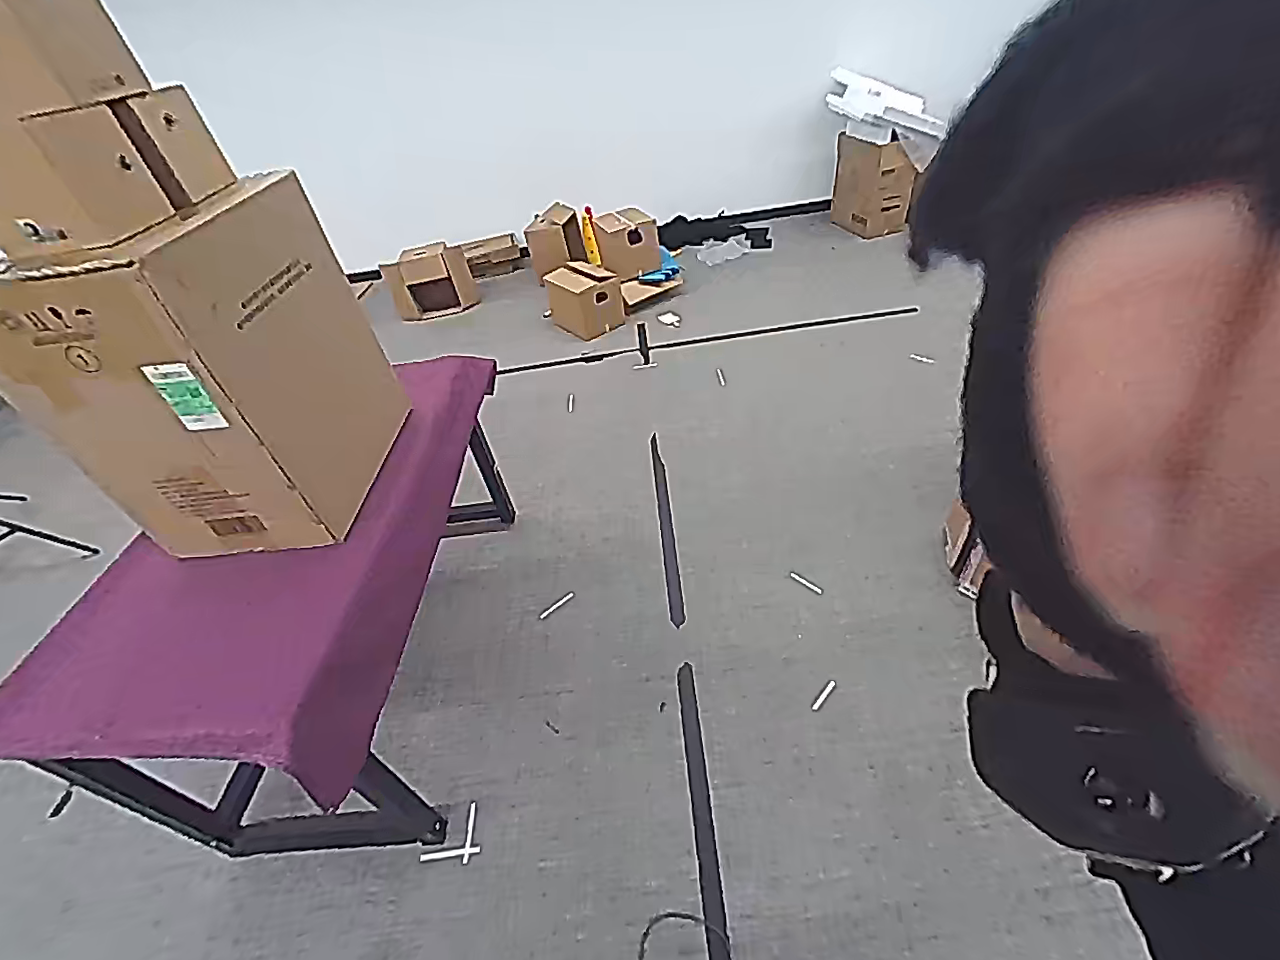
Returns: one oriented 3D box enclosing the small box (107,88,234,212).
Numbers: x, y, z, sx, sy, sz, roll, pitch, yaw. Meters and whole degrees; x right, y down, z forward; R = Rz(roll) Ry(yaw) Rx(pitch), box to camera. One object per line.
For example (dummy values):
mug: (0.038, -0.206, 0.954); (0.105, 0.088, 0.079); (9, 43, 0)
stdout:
small box: (-0.919, -0.609, 1.013); (0.168, 0.176, 0.179); (-8, 42, 2)

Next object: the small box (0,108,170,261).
small box: (-0.902, -0.461, 0.846); (0.168, 0.176, 0.179); (-9, 41, 2)

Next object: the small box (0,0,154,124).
small box: (-0.939, -0.671, 0.840); (0.179, 0.176, 0.168); (-3, 43, 9)
